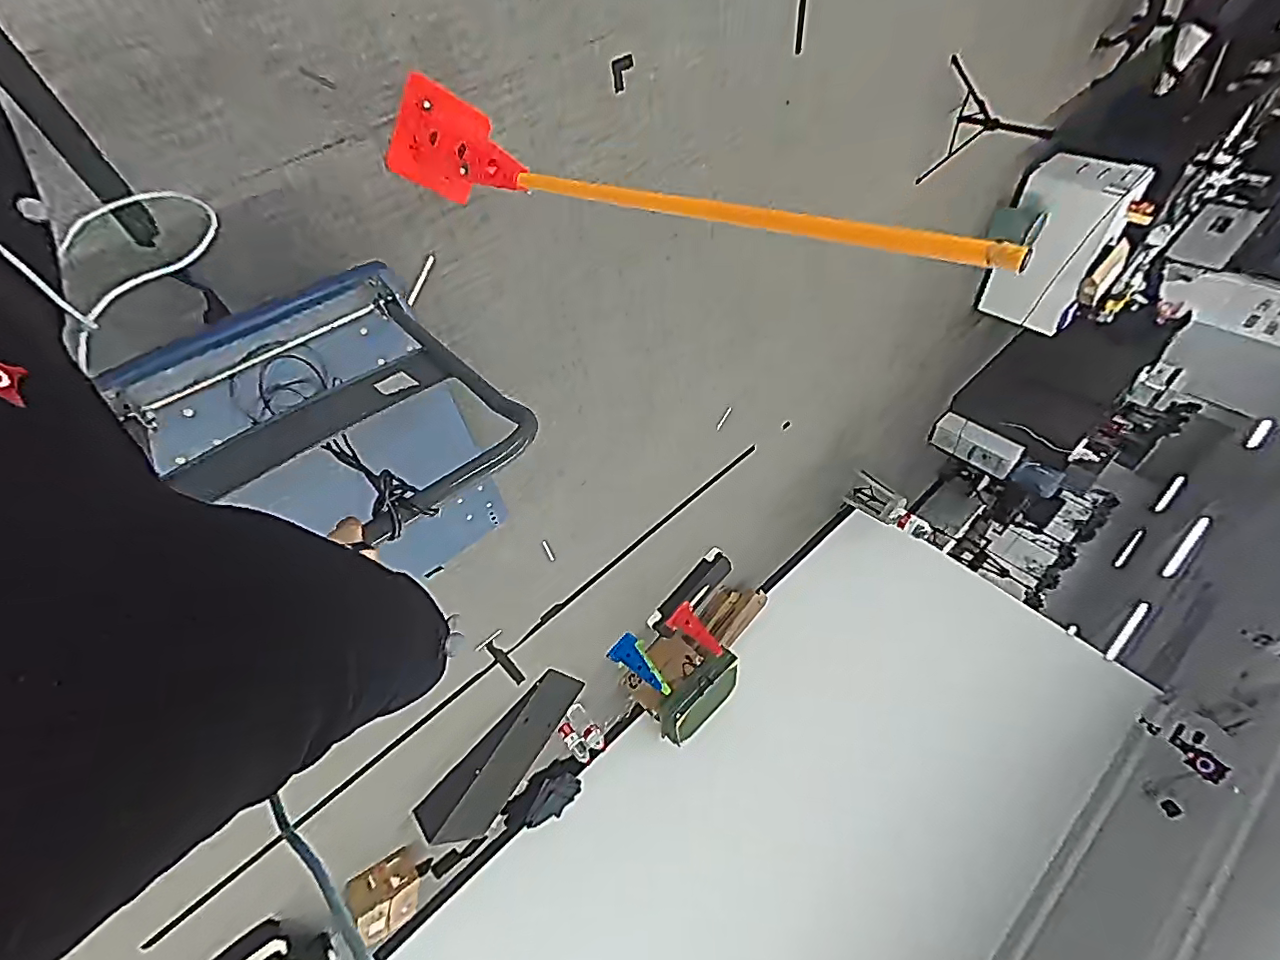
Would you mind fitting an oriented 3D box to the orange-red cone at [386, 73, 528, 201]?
[{"bbox_3d":[-0.335,-0.656,1.107,0.198,0.360,0.199,5,120,-51],"label":"orange-red cone"}]
